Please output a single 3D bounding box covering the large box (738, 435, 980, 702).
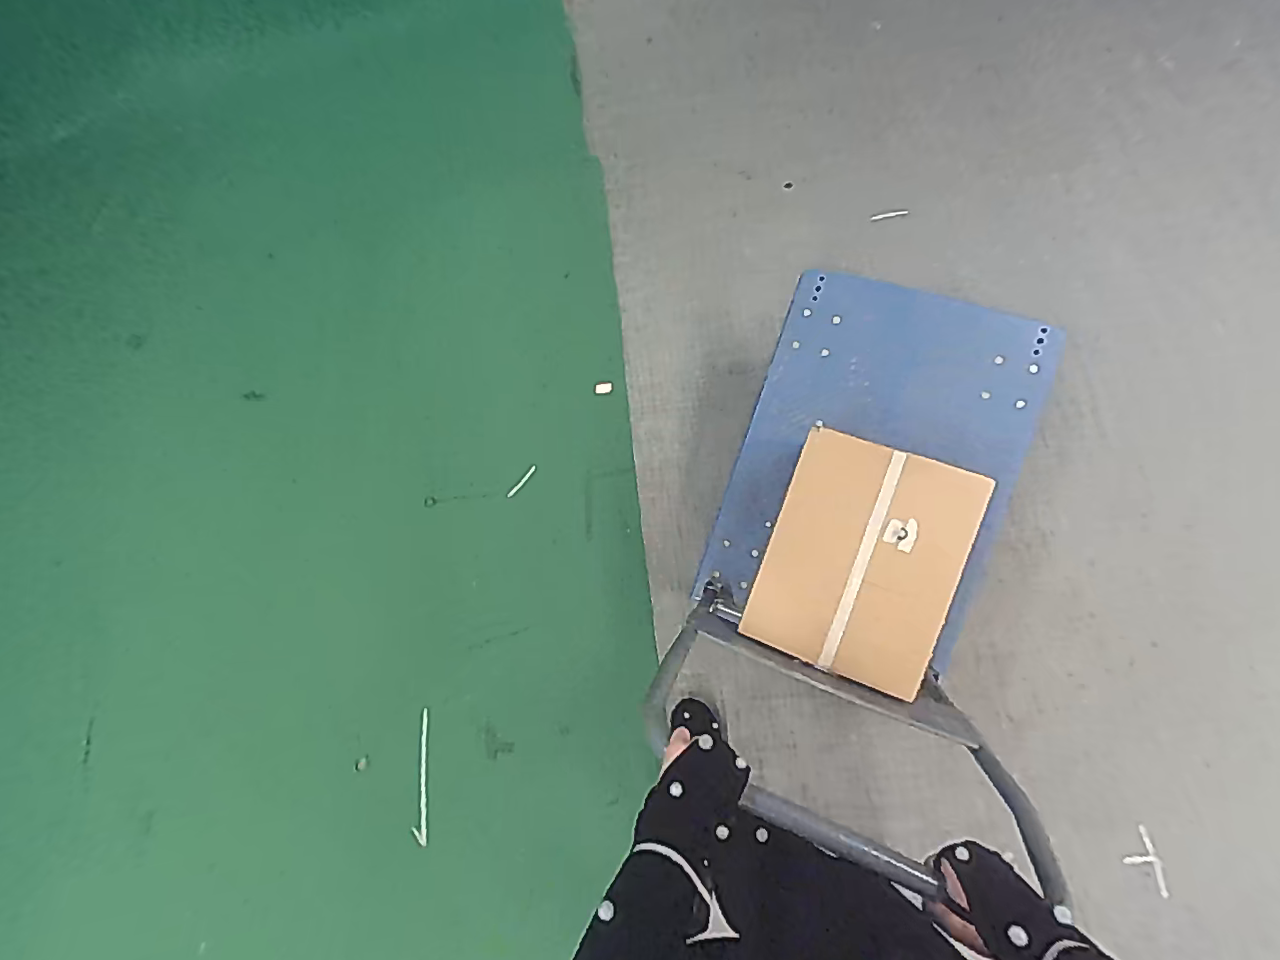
[{"bbox_3d":[0.420,0.162,1.109,0.320,0.320,0.408,20,91,14],"label":"large box"}]
